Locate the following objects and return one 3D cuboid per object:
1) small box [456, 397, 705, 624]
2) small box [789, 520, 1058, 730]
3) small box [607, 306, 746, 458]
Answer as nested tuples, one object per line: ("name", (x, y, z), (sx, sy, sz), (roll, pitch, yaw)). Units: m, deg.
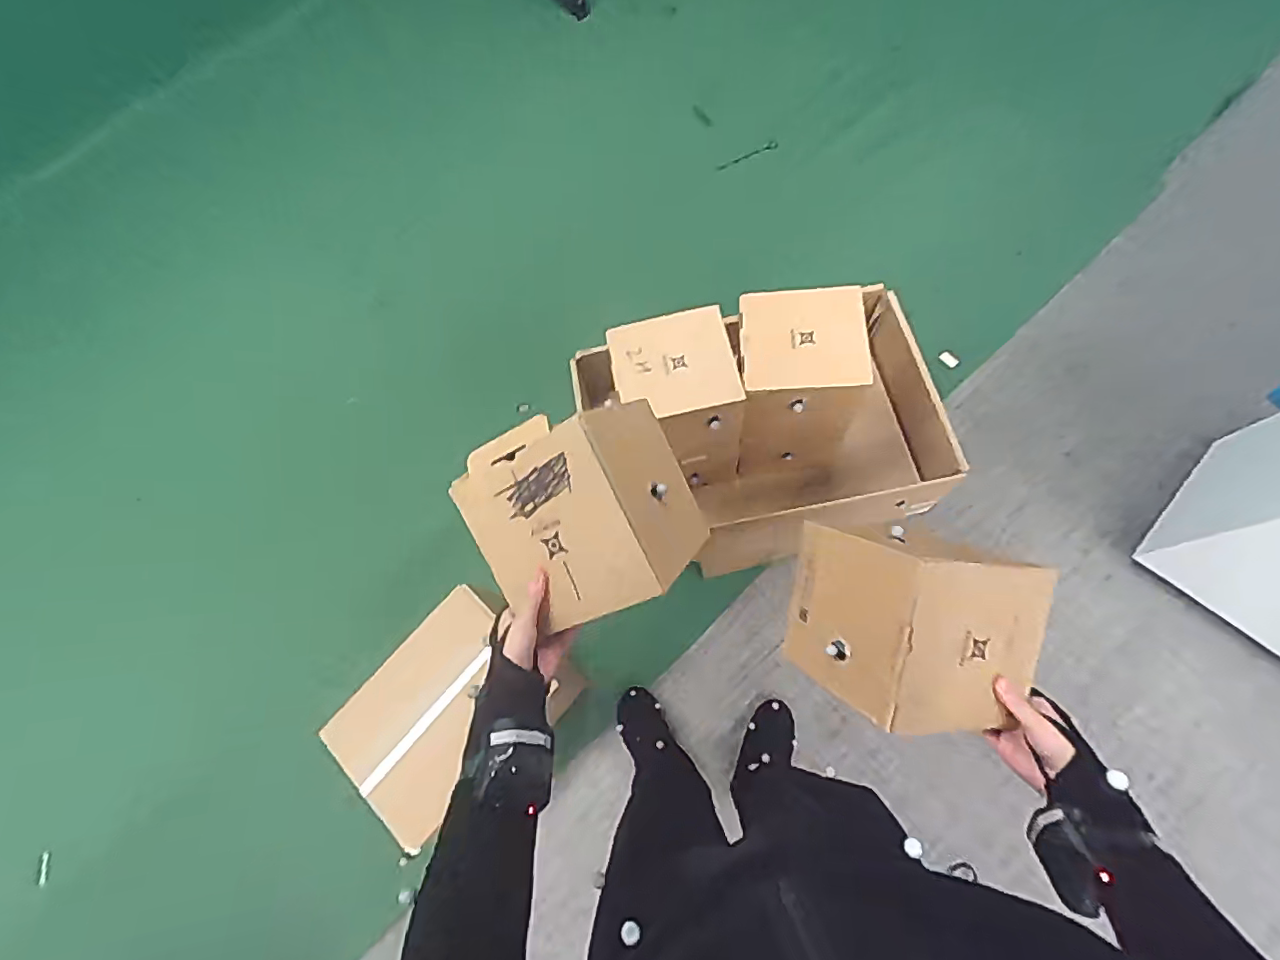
("small box", (-0.052, 0.021, 0.576), (0.168, 0.176, 0.179), (-24, 94, 25))
("small box", (0.286, 0.142, 0.576), (0.179, 0.176, 0.168), (8, 95, -20))
("small box", (0.056, -0.140, 0.852), (0.179, 0.176, 0.168), (-13, 68, 2))
